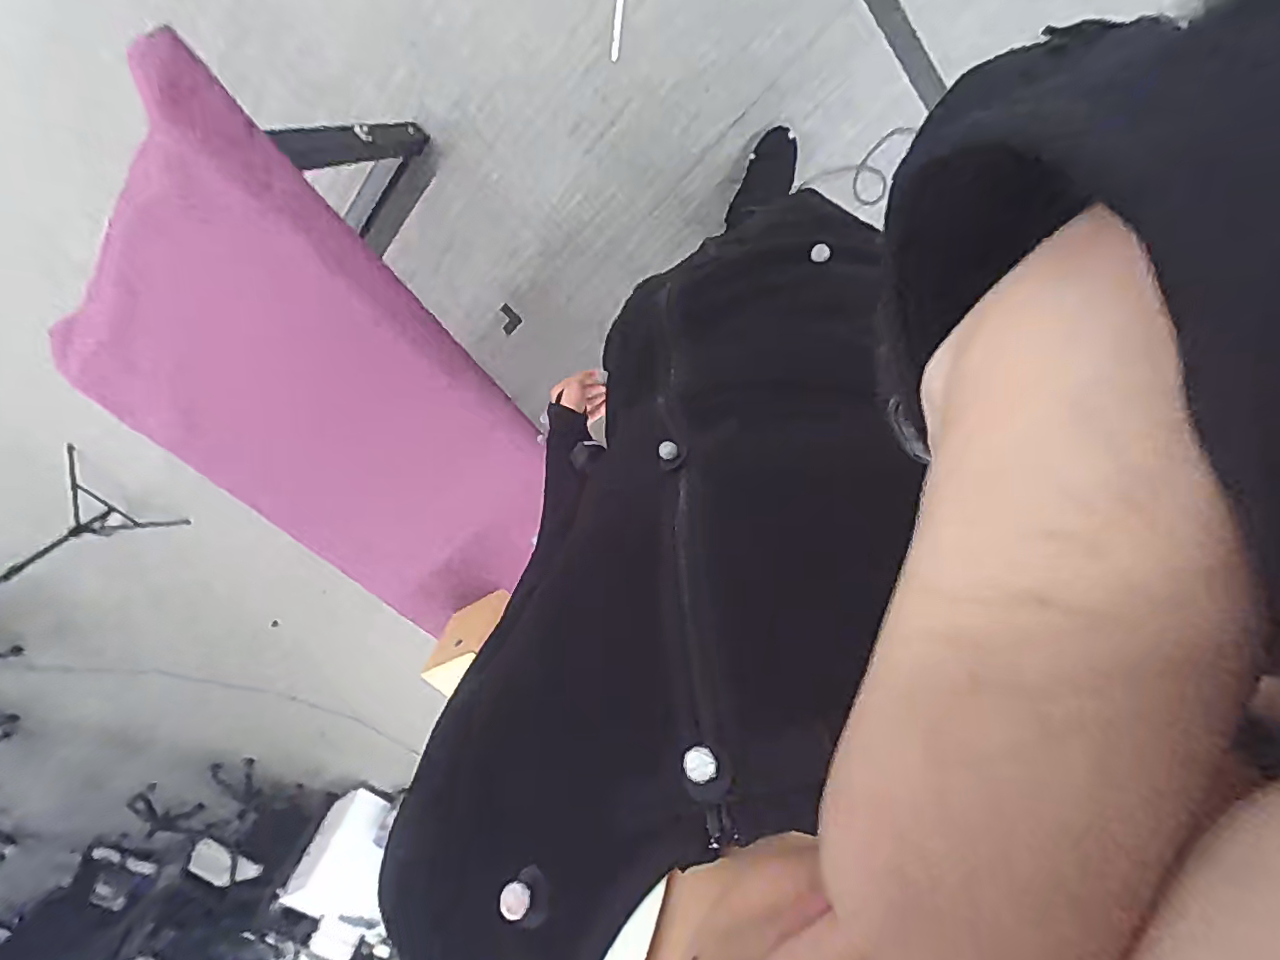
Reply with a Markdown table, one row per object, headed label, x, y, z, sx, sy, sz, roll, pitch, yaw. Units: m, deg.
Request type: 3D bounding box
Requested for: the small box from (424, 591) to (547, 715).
| label | x | y | z | sx | sy | sz | roll | pitch | yaw |
| --- | --- | --- | --- | --- | --- | --- | --- | --- | --- |
| small box | -0.321 | 0.370 | 1.170 | 0.179 | 0.176 | 0.168 | -29 | 114 | 26 |
